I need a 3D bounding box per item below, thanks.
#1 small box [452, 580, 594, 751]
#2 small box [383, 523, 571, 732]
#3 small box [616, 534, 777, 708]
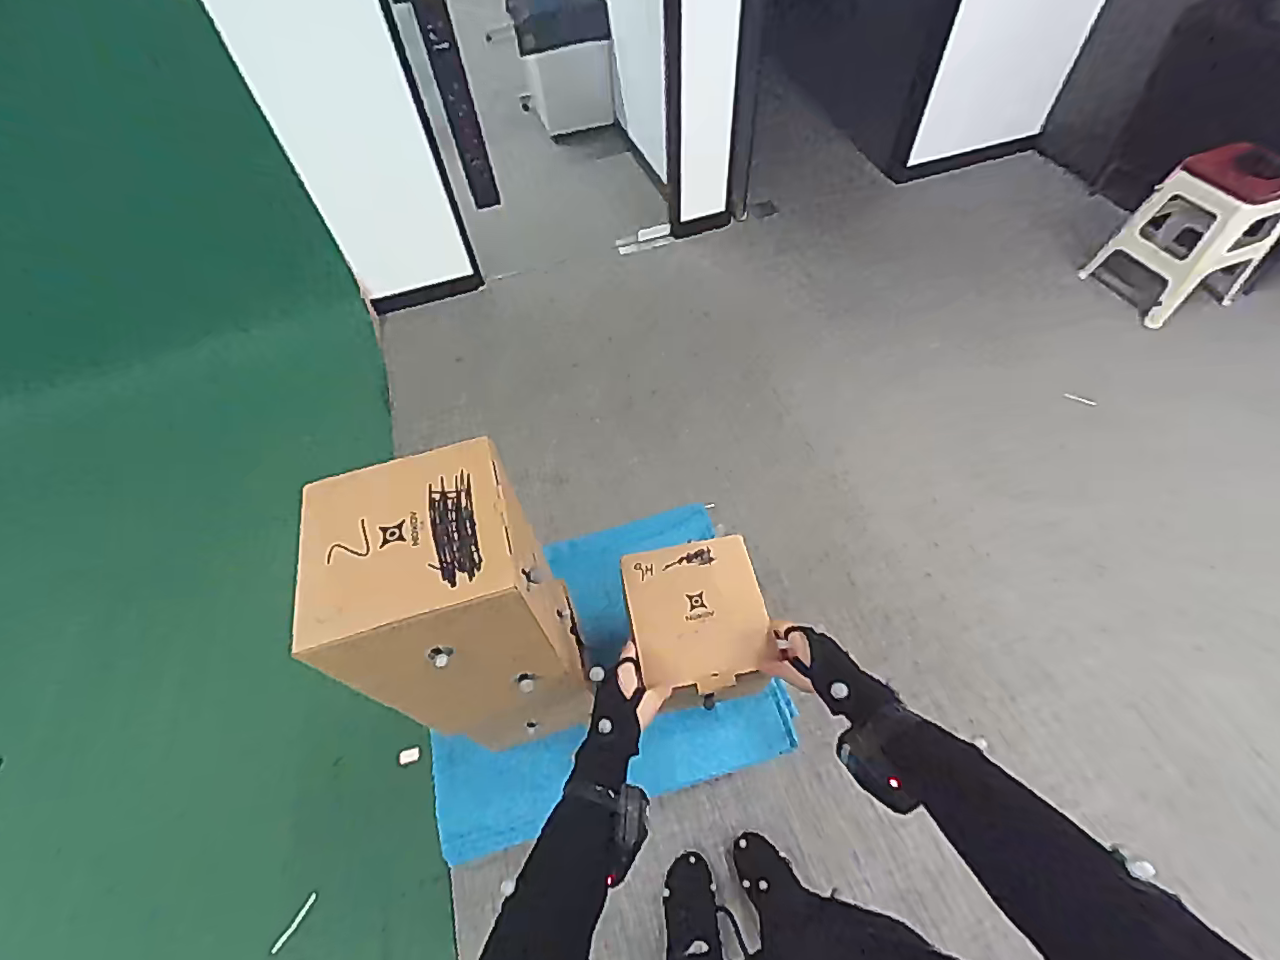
[{"bbox_3d":[-0.169,0.272,0.787,0.179,0.176,0.168,-16,55,-7],"label":"small box"},{"bbox_3d":[-0.187,0.181,0.651,0.179,0.176,0.168,-16,55,-7],"label":"small box"},{"bbox_3d":[0.065,0.196,0.722,0.168,0.176,0.179,-9,59,-6],"label":"small box"}]
